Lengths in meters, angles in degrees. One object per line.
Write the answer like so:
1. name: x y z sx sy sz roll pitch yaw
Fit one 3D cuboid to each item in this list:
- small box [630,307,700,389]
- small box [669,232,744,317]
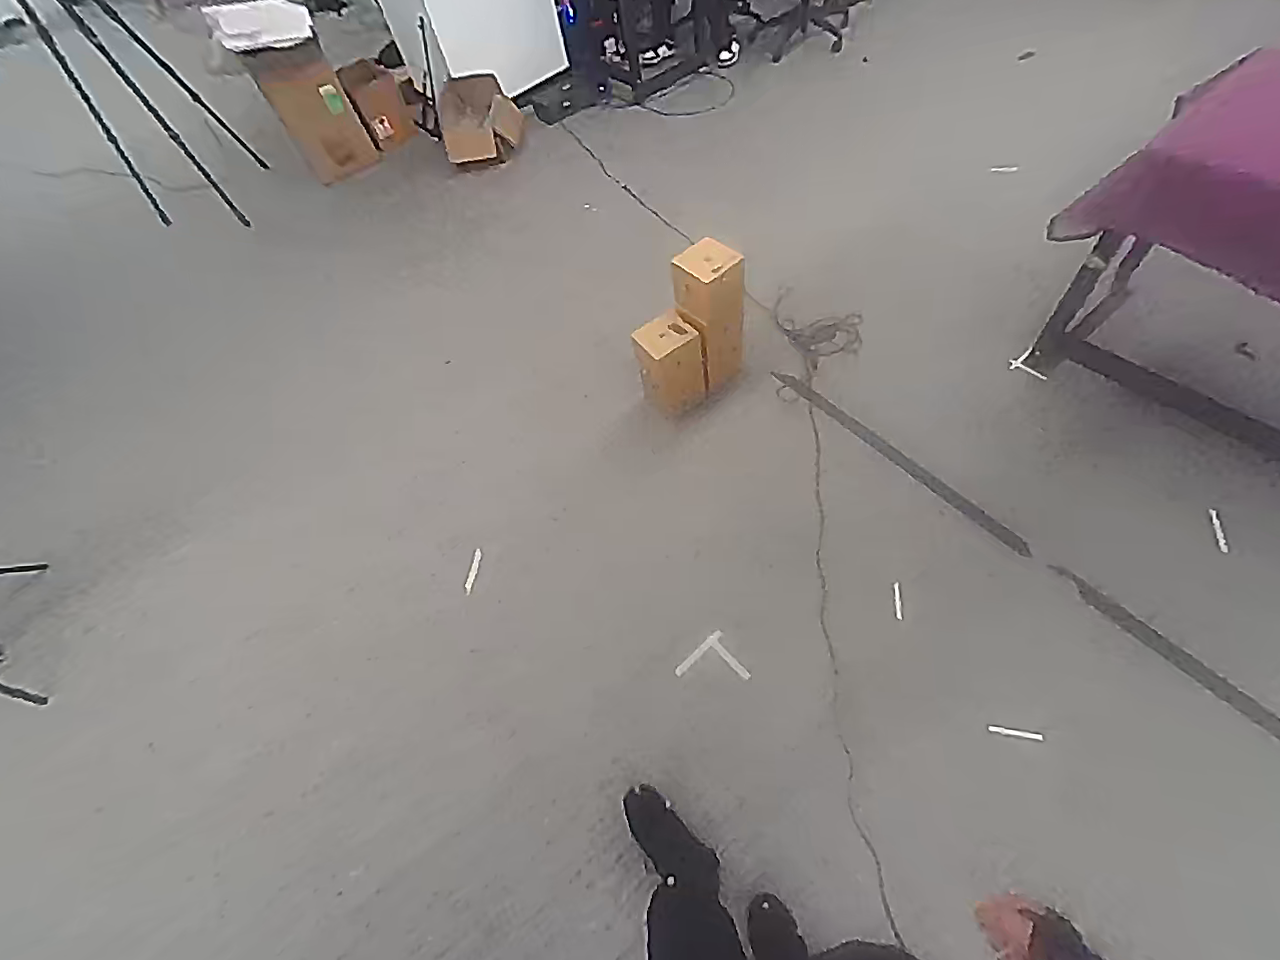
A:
1. small box: 0.091 -0.447 1.838 0.179 0.176 0.168 -35 58 -9
2. small box: 0.217 -0.658 1.747 0.168 0.176 0.179 -39 58 -12
